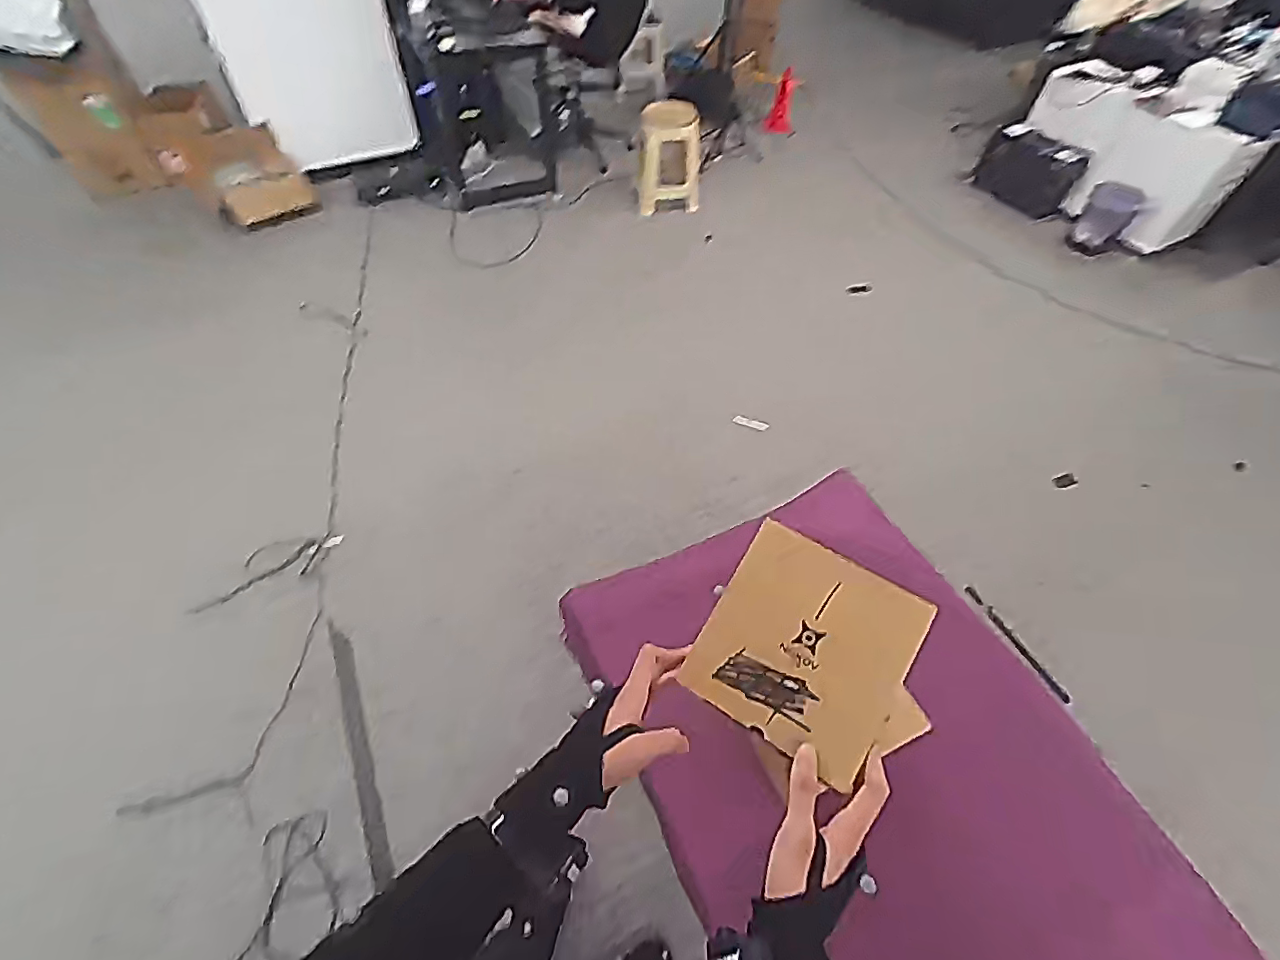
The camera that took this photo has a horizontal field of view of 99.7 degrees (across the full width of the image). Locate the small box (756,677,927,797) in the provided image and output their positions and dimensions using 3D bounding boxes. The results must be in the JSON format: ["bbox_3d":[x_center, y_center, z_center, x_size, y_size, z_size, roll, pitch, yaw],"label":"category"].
[{"bbox_3d":[0.251,0.322,0.762,0.179,0.176,0.168,-19,58,-15],"label":"small box"}]

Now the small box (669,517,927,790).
[{"bbox_3d":[0.151,0.167,0.550,0.168,0.176,0.179,29,80,17],"label":"small box"}]
